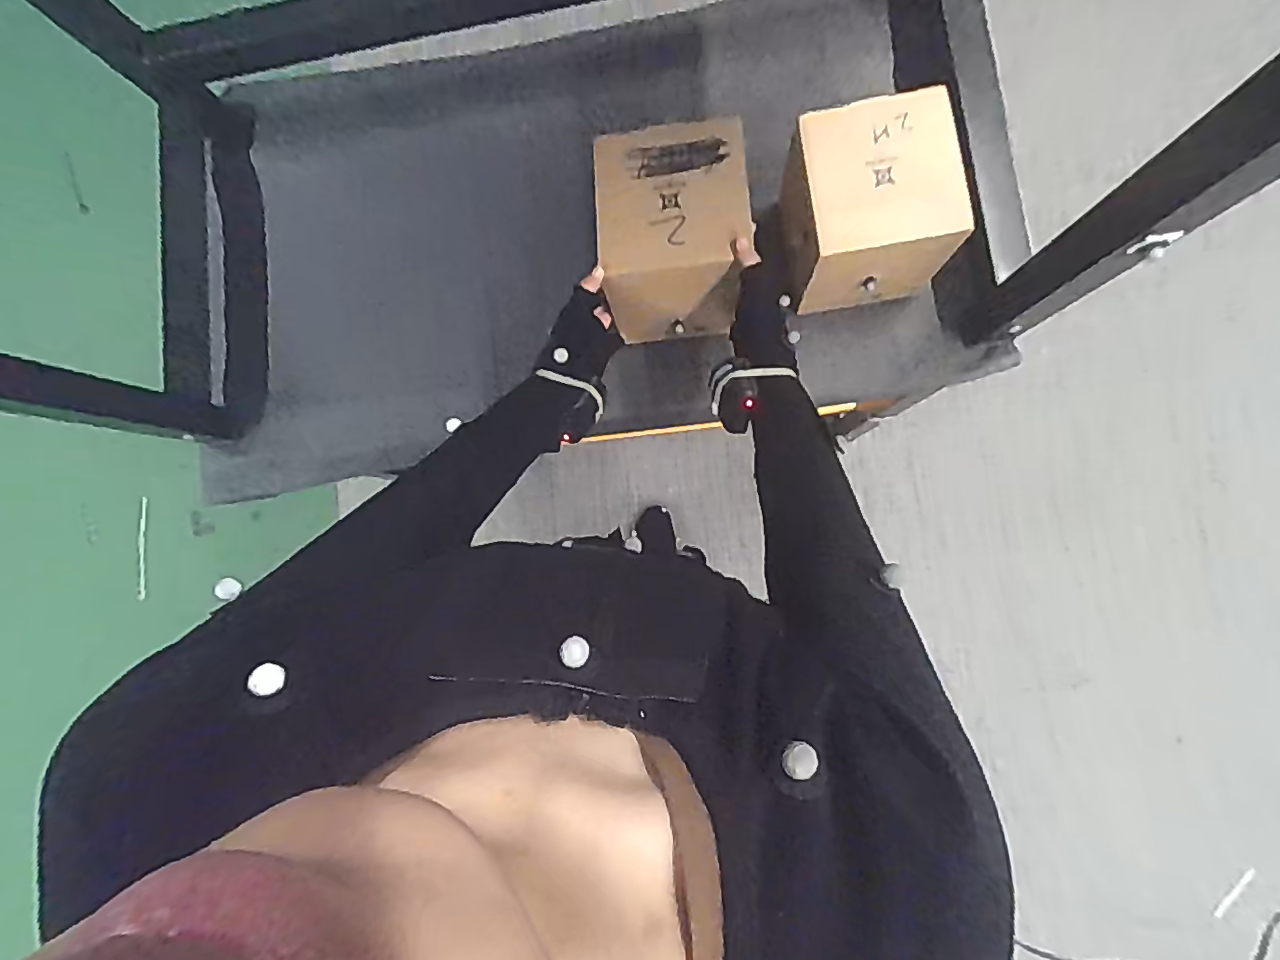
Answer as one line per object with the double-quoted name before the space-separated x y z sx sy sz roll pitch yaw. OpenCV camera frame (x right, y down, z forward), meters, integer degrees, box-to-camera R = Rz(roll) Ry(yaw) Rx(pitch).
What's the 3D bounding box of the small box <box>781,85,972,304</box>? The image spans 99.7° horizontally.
"small box" 0.282 -0.340 0.684 0.168 0.176 0.179 -8 83 6
